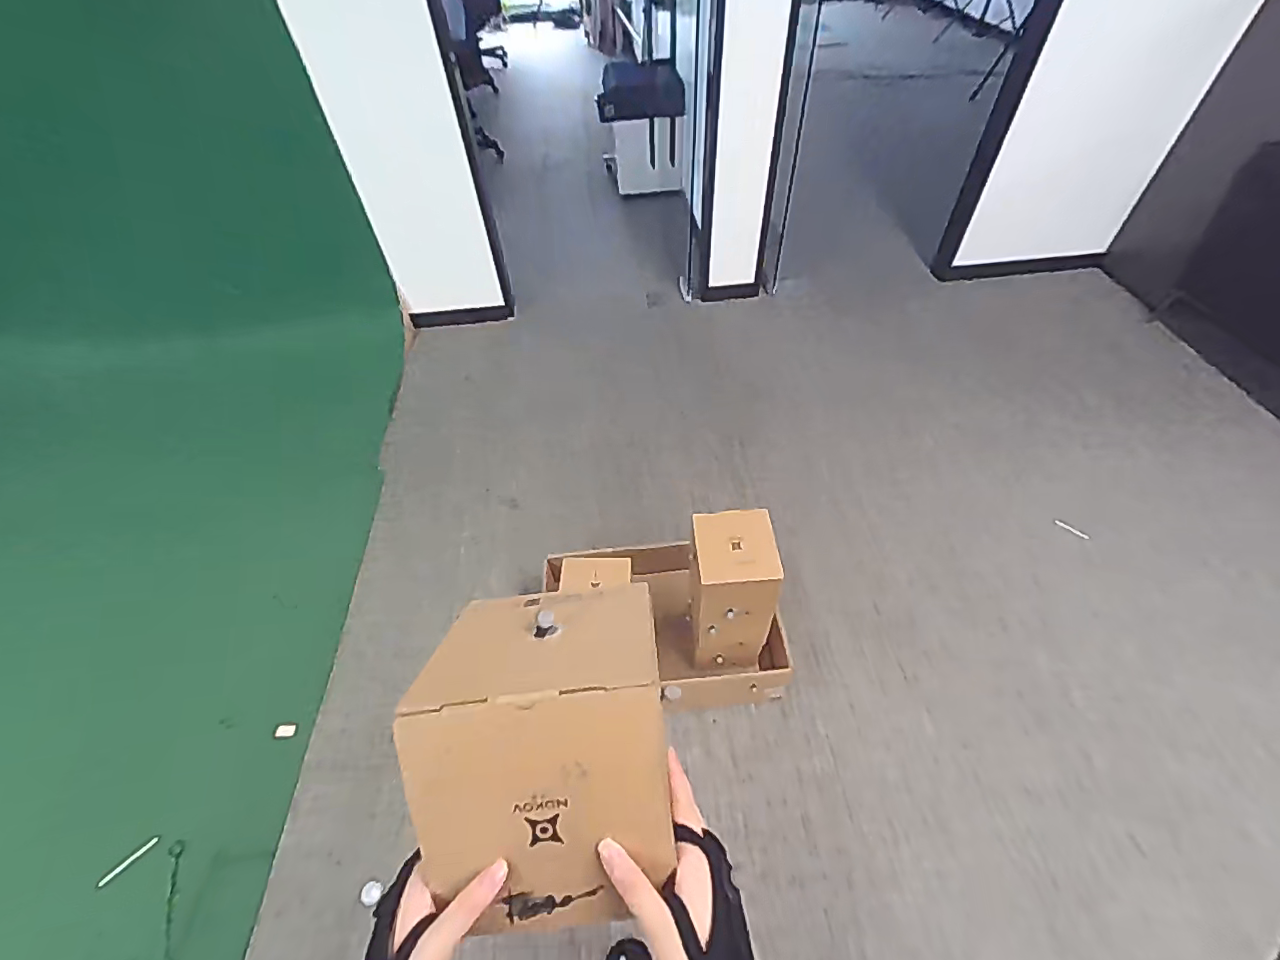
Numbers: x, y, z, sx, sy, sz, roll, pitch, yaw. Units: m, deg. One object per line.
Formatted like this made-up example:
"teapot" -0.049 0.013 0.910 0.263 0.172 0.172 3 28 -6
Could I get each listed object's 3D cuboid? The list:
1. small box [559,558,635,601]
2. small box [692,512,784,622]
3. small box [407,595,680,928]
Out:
"small box" -0.098 0.306 1.298 0.168 0.176 0.179 0 49 2
"small box" 0.203 0.189 1.172 0.168 0.176 0.179 -3 50 1
"small box" -0.061 0.202 0.435 0.168 0.179 0.176 -6 10 1
